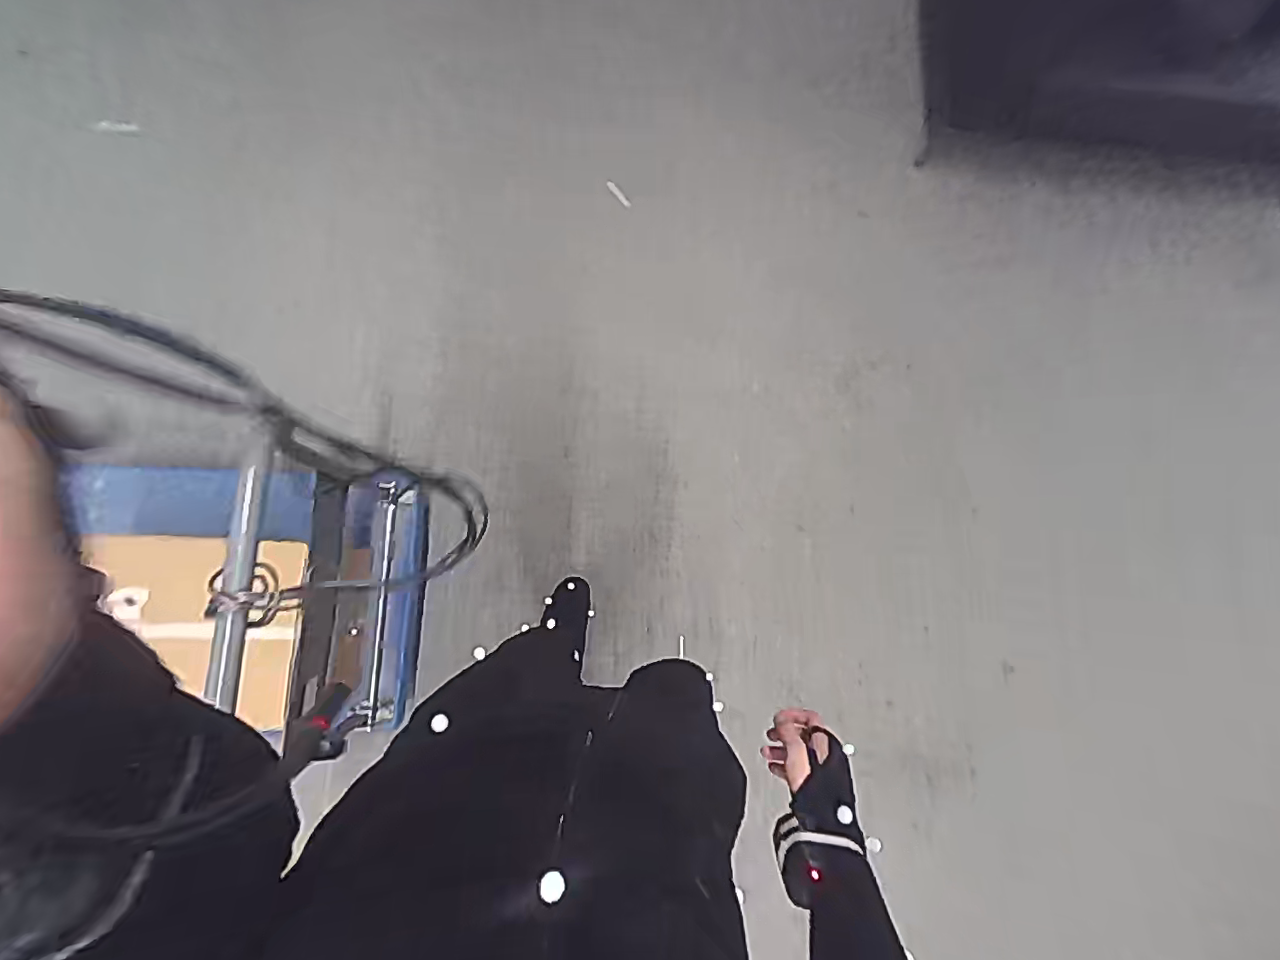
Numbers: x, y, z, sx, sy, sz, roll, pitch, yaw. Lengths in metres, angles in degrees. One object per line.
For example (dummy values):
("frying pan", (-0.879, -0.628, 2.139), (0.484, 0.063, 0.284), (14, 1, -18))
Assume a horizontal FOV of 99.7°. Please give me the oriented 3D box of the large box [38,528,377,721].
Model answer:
("large box", (-0.787, 0.264, 1.061), (0.408, 0.320, 0.320), (4, 80, -5))
